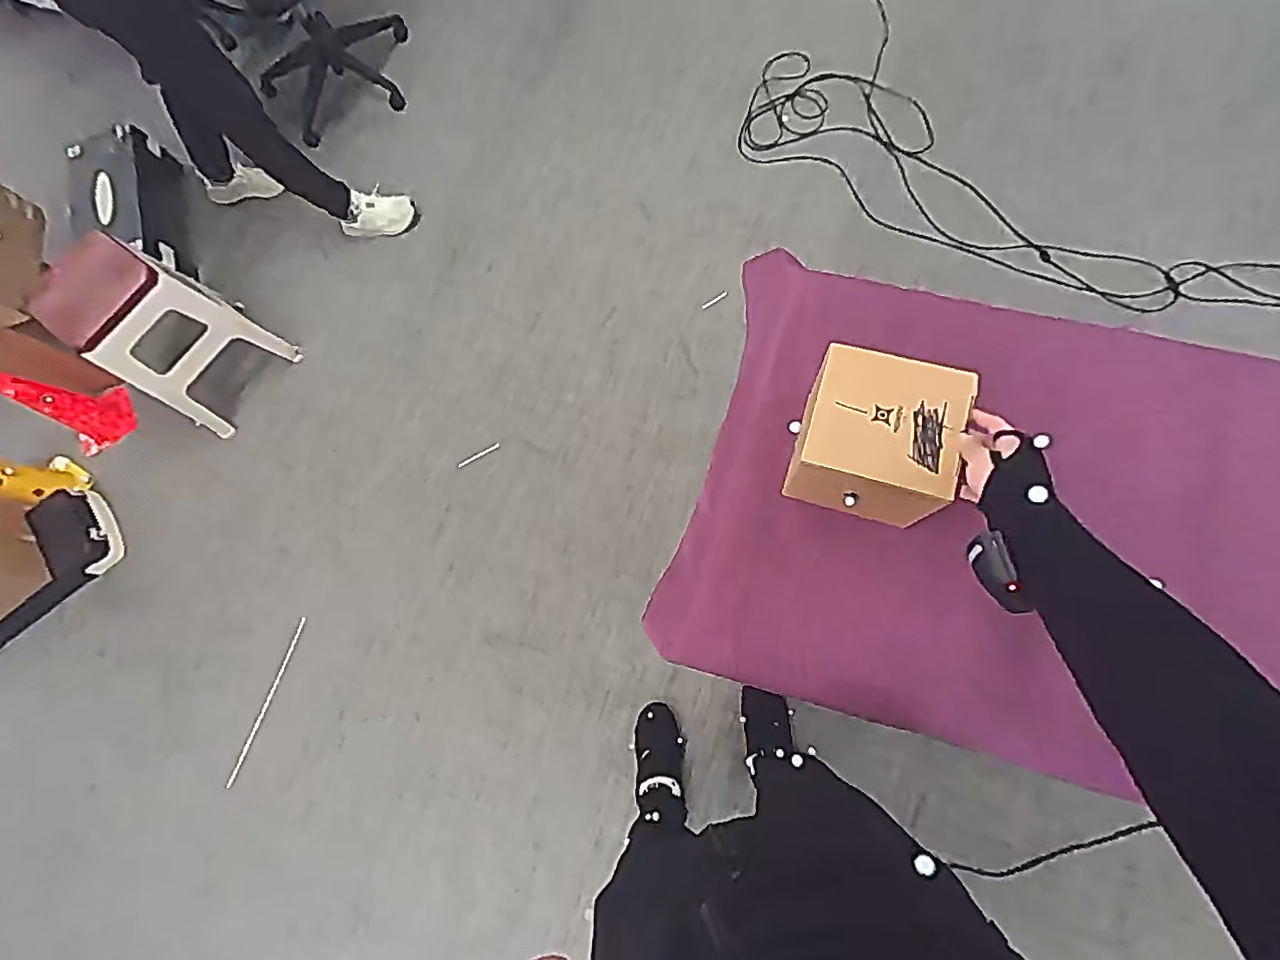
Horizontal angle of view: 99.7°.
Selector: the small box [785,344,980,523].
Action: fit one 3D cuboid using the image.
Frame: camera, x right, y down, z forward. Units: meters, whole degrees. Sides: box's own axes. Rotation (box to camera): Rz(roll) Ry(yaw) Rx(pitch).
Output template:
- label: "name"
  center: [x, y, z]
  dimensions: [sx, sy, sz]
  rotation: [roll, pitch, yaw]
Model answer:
- label: "small box"
  center: [0.305, -0.050, 0.714]
  dimensions: [0.179, 0.176, 0.168]
  rotation: [16, 77, 12]
